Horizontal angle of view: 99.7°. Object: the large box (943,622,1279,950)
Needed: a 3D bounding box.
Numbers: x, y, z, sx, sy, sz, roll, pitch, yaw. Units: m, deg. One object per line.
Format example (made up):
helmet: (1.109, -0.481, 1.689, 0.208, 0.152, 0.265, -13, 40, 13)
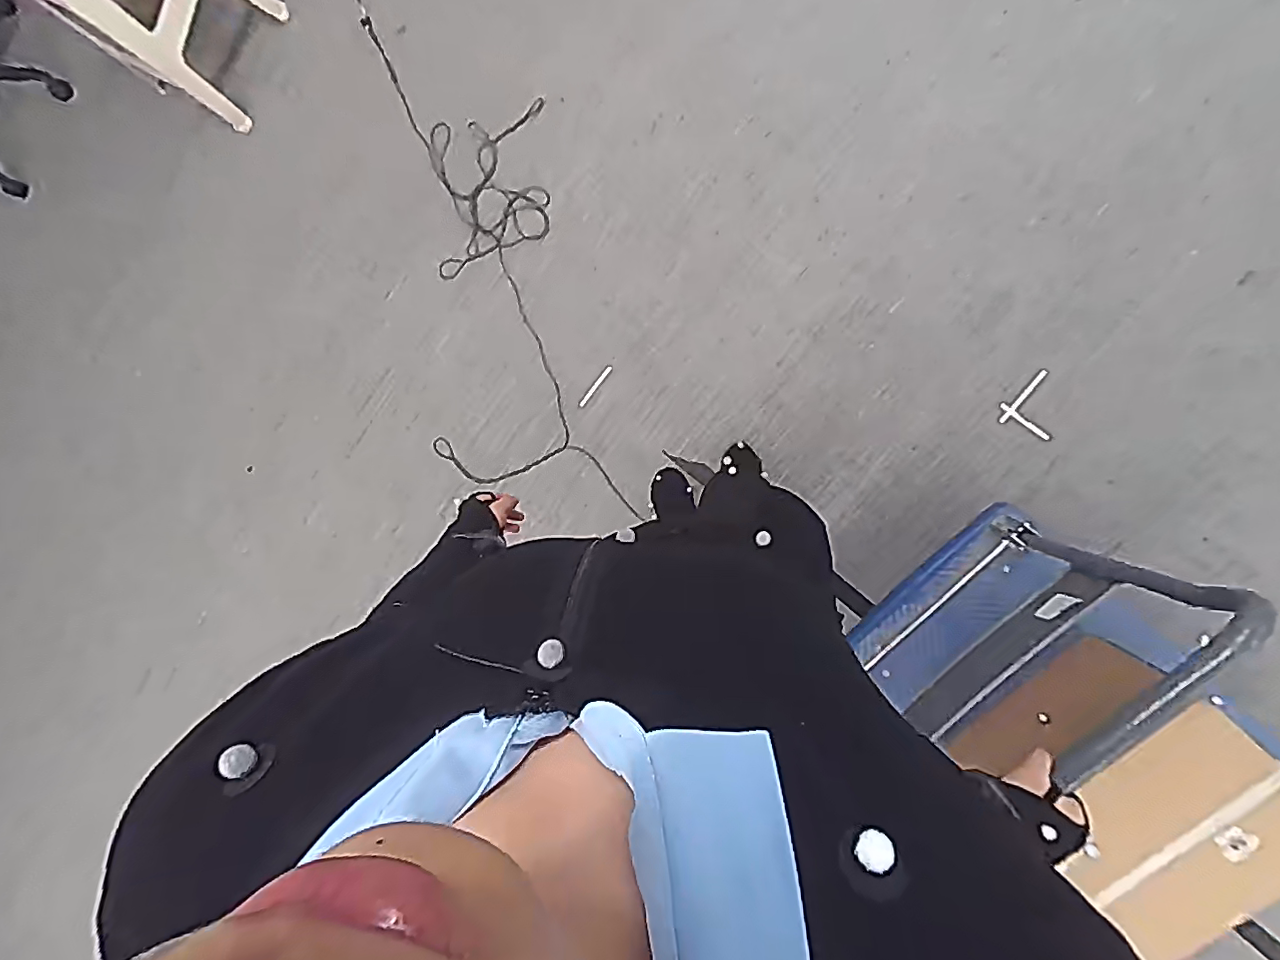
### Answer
large box: (0.906, 0.560, 1.061, 0.320, 0.320, 0.408, 44, 99, 5)
